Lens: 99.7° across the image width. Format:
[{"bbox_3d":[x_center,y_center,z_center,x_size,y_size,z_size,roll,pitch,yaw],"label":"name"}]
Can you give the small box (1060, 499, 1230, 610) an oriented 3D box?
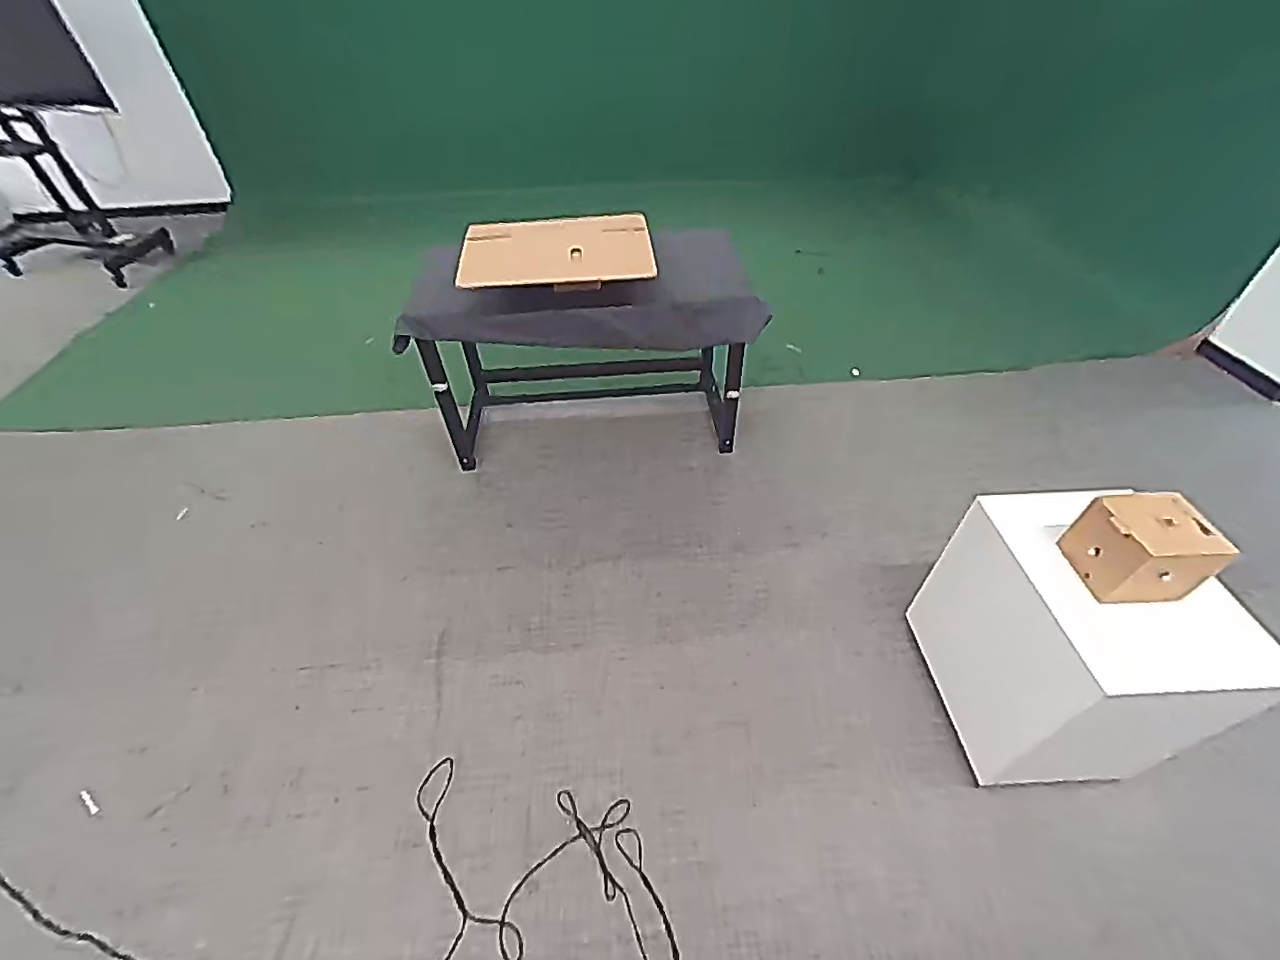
[{"bbox_3d":[1.039,0.160,1.139,0.179,0.176,0.168,-3,44,-3],"label":"small box"}]
